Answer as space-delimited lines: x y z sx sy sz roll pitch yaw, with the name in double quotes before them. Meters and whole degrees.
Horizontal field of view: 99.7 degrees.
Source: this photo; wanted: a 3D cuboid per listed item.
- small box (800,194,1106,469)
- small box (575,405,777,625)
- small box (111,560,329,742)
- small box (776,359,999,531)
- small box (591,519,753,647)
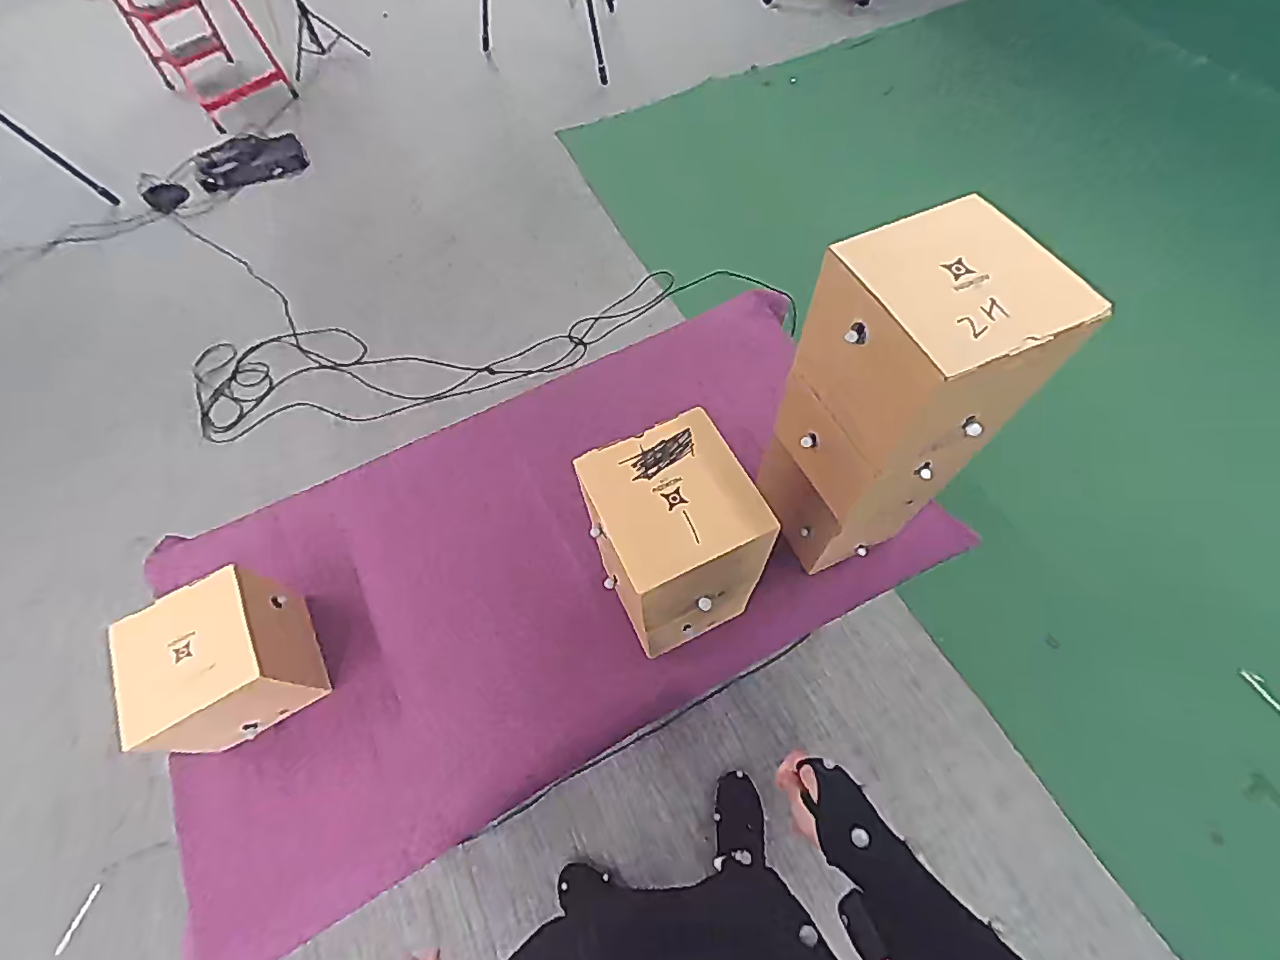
"small box" 0.284 -0.142 0.544 0.168 0.176 0.179 -22 63 -7
"small box" 0.037 0.048 0.649 0.168 0.176 0.179 -24 63 -9
"small box" -0.579 0.246 0.761 0.168 0.176 0.179 -29 66 -11
"small box" 0.292 -0.064 0.689 0.168 0.176 0.179 -23 62 -7
"small box" 0.045 0.128 0.792 0.168 0.176 0.179 -24 62 -9
